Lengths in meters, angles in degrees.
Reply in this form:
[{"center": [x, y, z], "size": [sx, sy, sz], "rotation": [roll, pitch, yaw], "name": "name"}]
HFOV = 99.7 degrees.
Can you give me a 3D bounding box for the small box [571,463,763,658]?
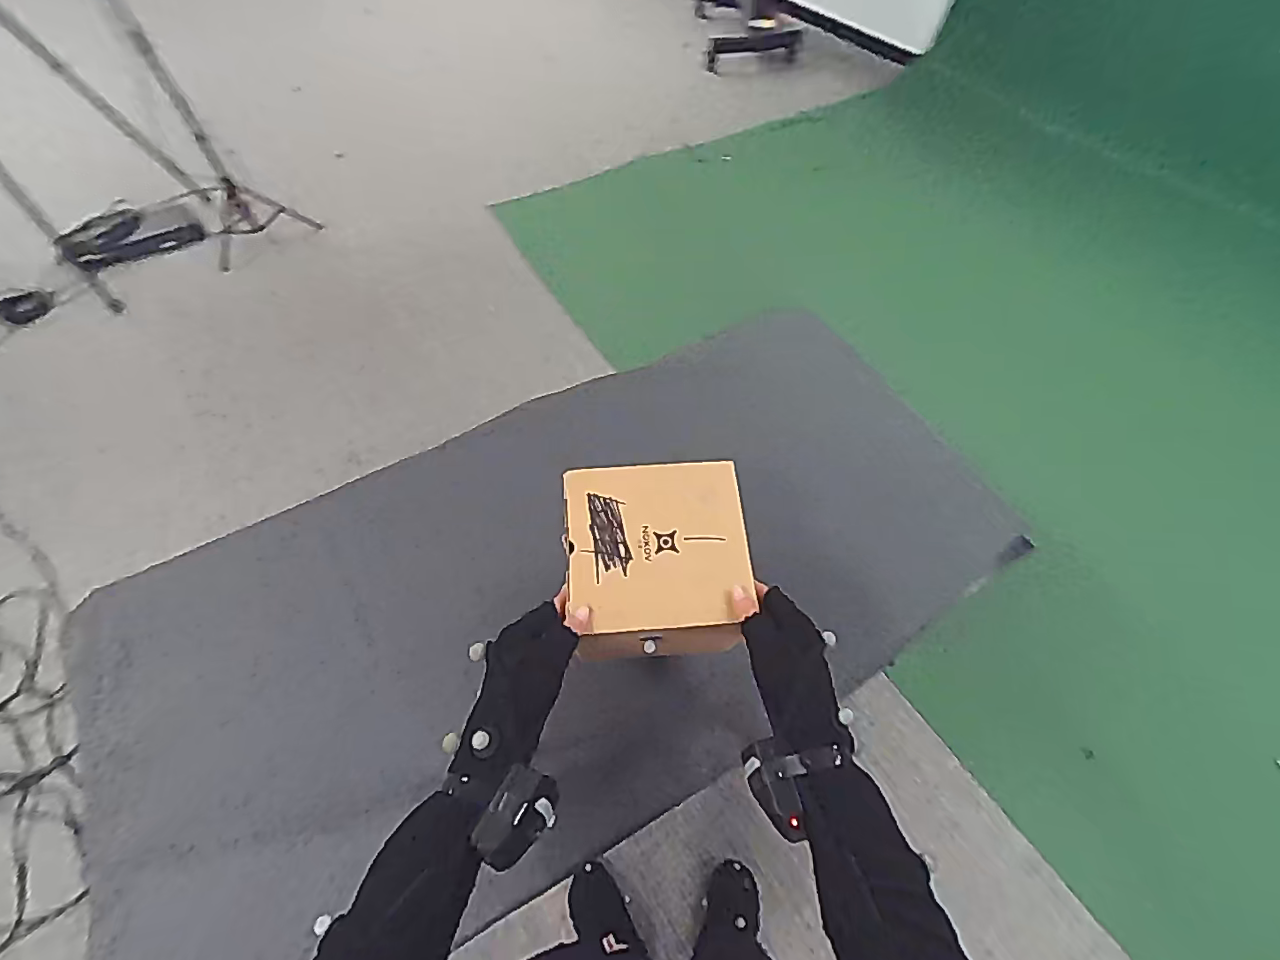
[{"center": [0.021, 0.095, 0.588], "size": [0.179, 0.176, 0.168], "rotation": [-3, 64, -3], "name": "small box"}]
